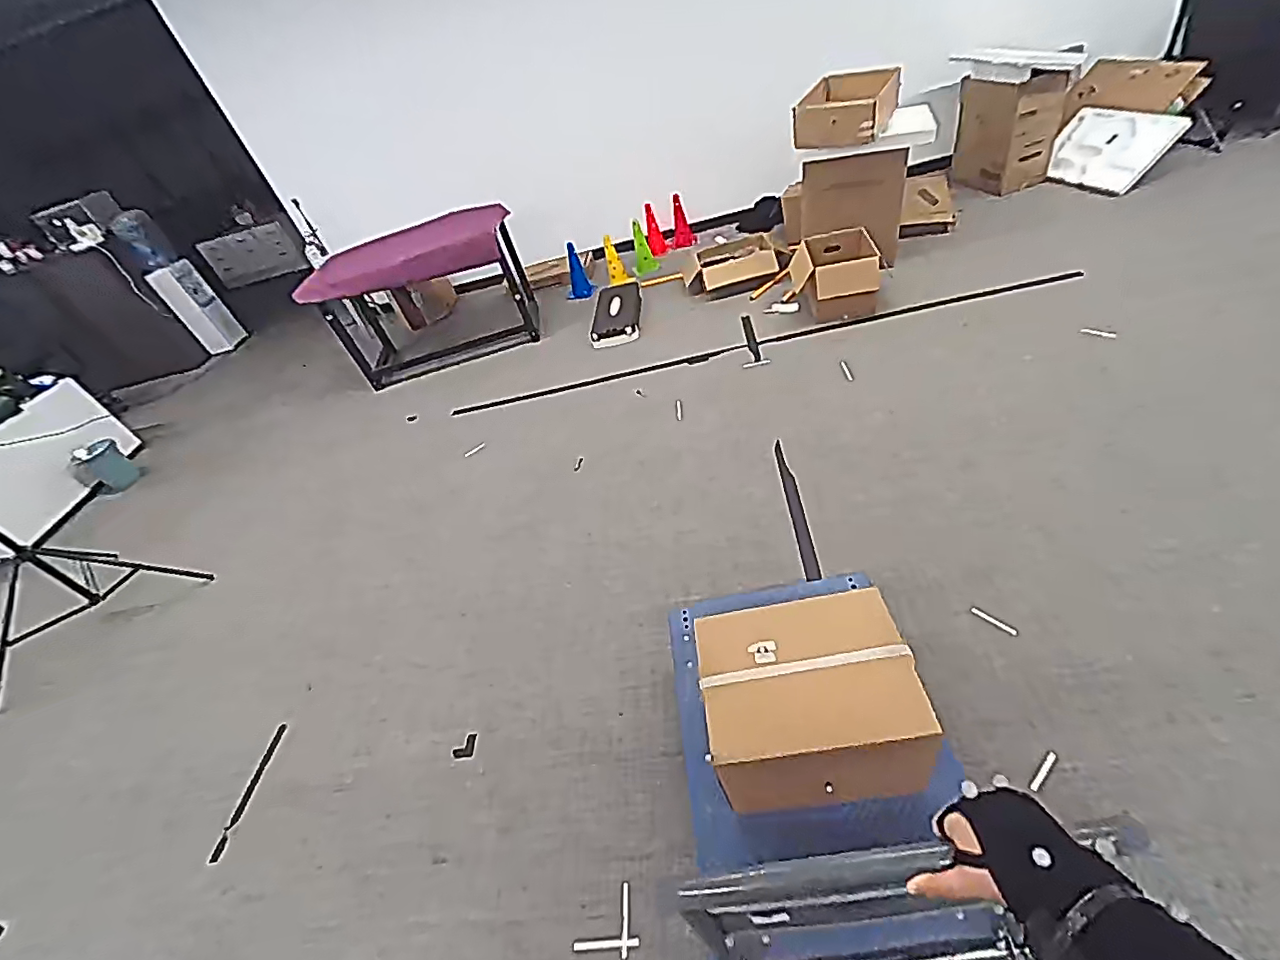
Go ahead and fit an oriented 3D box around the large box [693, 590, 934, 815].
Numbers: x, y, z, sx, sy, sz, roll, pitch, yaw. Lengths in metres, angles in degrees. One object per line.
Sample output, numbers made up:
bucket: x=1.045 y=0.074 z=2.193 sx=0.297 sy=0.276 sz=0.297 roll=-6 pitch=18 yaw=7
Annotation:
large box: x=0.360 y=0.491 z=1.182 sx=0.408 sy=0.320 sz=0.320 roll=-14 pitch=40 yaw=8
